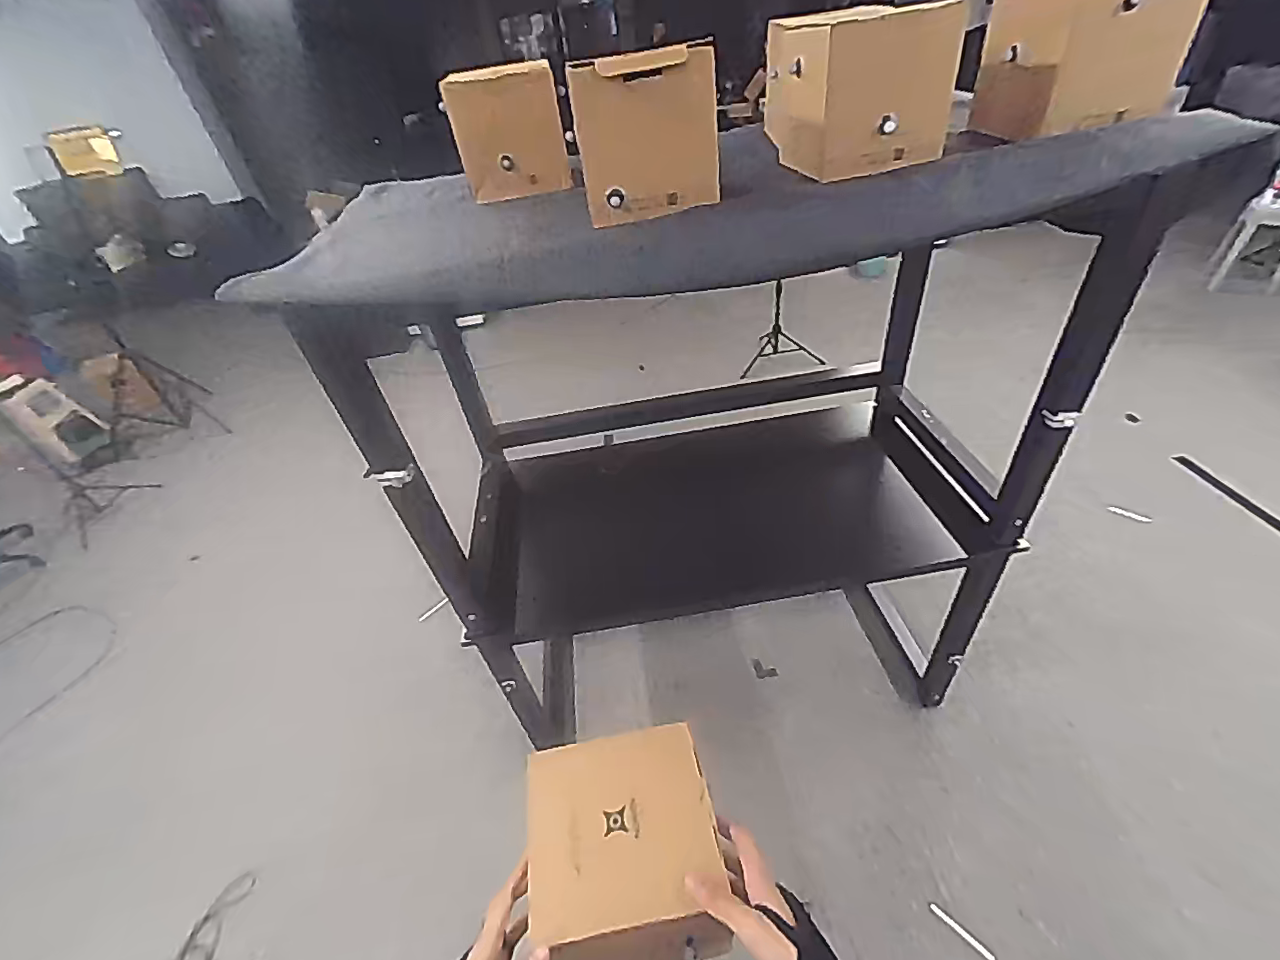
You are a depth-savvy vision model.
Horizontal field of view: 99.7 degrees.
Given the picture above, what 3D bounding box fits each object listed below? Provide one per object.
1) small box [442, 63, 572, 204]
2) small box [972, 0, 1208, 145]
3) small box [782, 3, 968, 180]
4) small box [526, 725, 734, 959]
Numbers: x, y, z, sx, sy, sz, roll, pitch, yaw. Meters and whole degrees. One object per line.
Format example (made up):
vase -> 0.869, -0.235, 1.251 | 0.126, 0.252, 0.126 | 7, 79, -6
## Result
small box -> -0.212, -0.578, 0.903 | 0.168, 0.176, 0.179 | -11, 41, -2
small box -> 0.594, -0.573, 0.739 | 0.168, 0.176, 0.179 | -10, 39, 1
small box -> 0.299, -0.521, 0.736 | 0.168, 0.176, 0.179 | -10, 39, -1
small box -> -0.012, 0.384, 0.553 | 0.179, 0.176, 0.168 | -9, 36, -4
